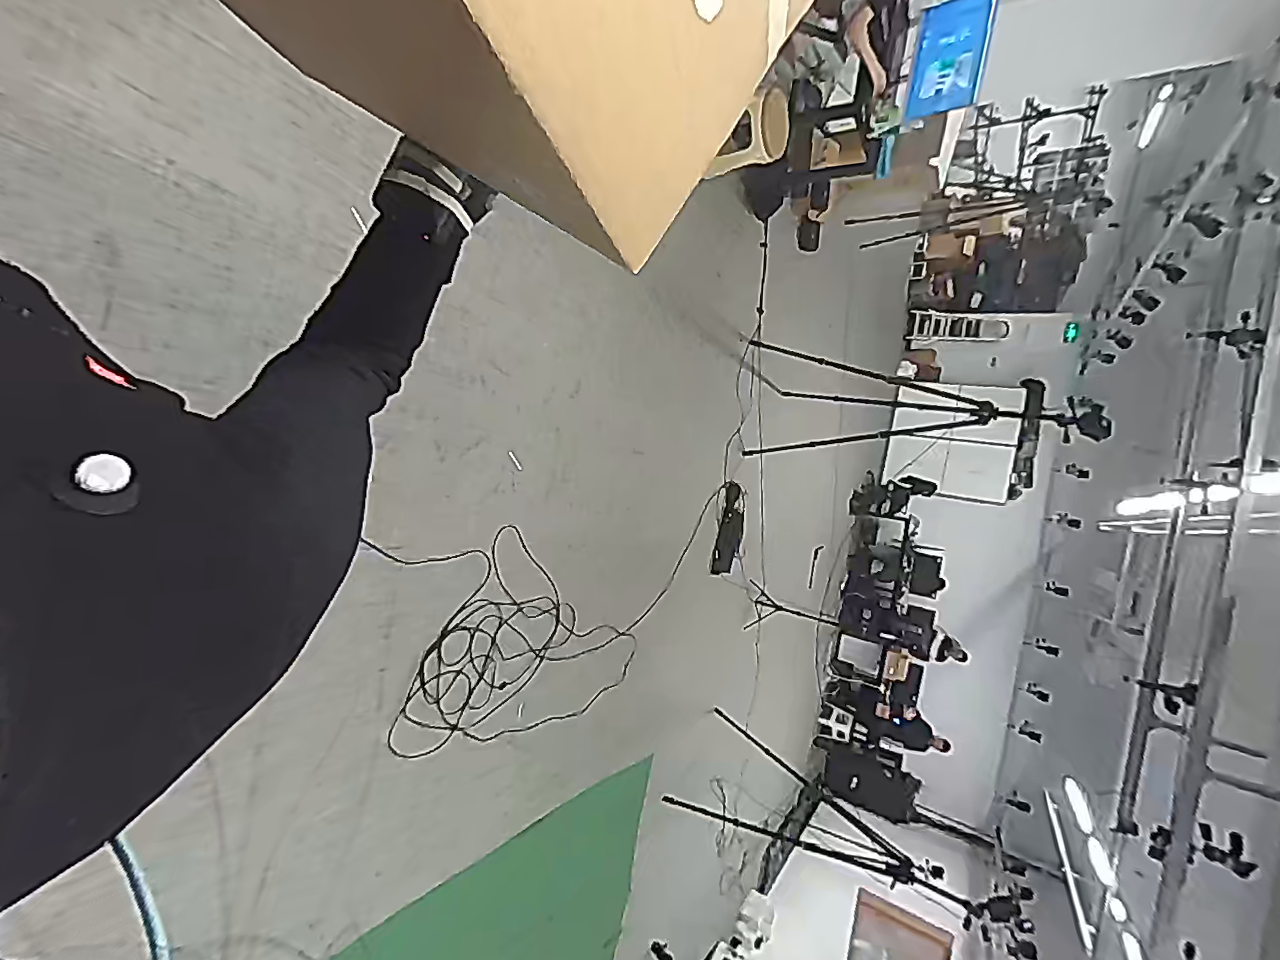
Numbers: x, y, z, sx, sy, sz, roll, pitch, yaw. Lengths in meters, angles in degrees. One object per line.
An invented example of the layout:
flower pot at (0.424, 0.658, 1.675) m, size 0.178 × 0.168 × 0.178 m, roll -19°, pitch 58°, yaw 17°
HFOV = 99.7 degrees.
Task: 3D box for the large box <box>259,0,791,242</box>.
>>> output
large box at (-0.087, -0.362, 0.179) m, size 0.320 × 0.320 × 0.408 m, roll -55°, pitch 172°, yaw 8°
